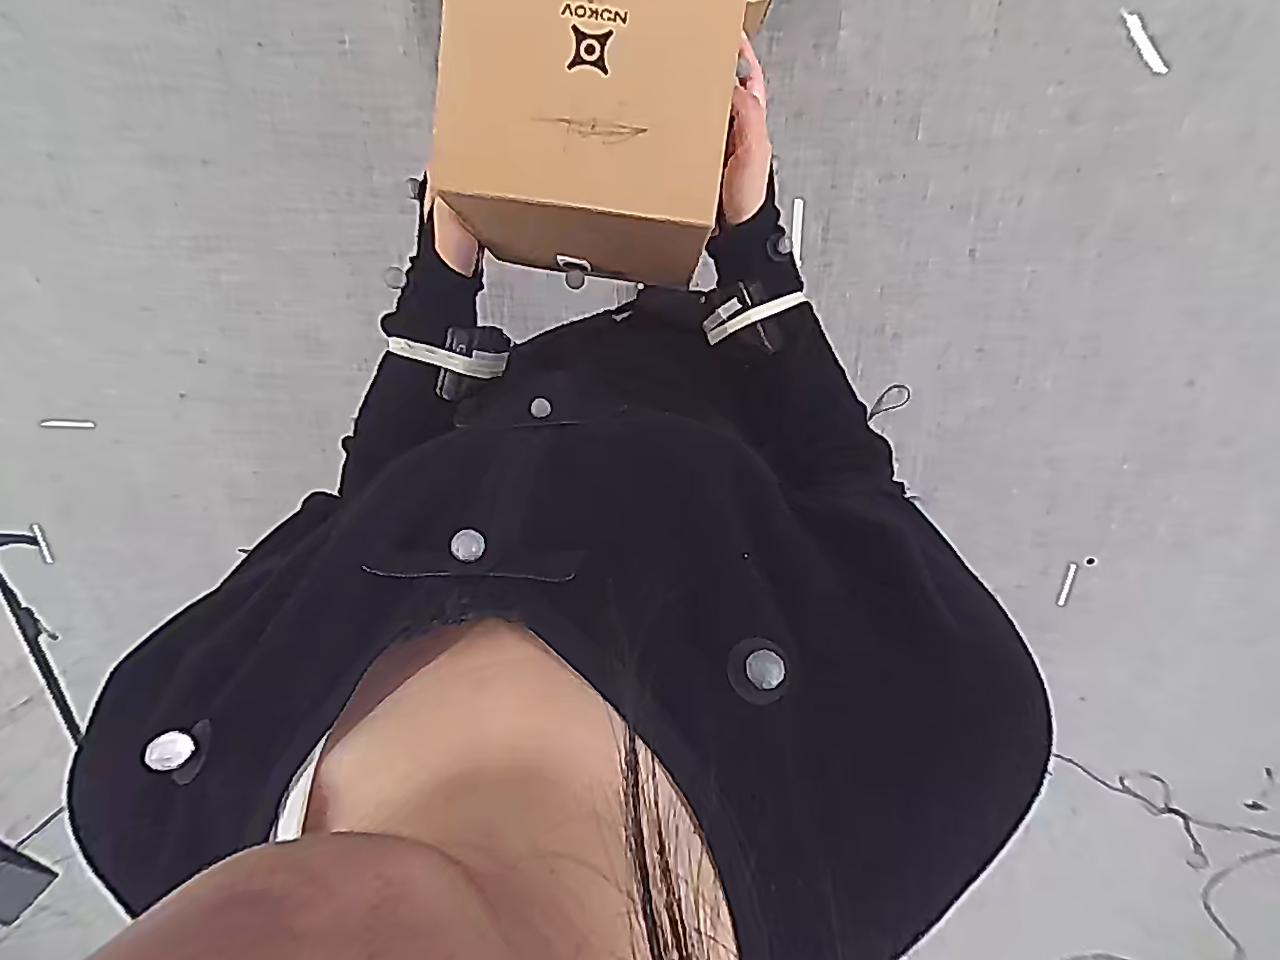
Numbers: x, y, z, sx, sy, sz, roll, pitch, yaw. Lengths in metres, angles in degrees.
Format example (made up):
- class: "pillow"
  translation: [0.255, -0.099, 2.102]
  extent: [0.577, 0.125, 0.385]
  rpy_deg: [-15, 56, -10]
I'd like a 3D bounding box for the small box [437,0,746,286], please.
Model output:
- class: "small box"
  translation: [-0.027, -0.254, 0.382]
  extent: [0.168, 0.176, 0.179]
  rpy_deg: [7, 98, -1]
